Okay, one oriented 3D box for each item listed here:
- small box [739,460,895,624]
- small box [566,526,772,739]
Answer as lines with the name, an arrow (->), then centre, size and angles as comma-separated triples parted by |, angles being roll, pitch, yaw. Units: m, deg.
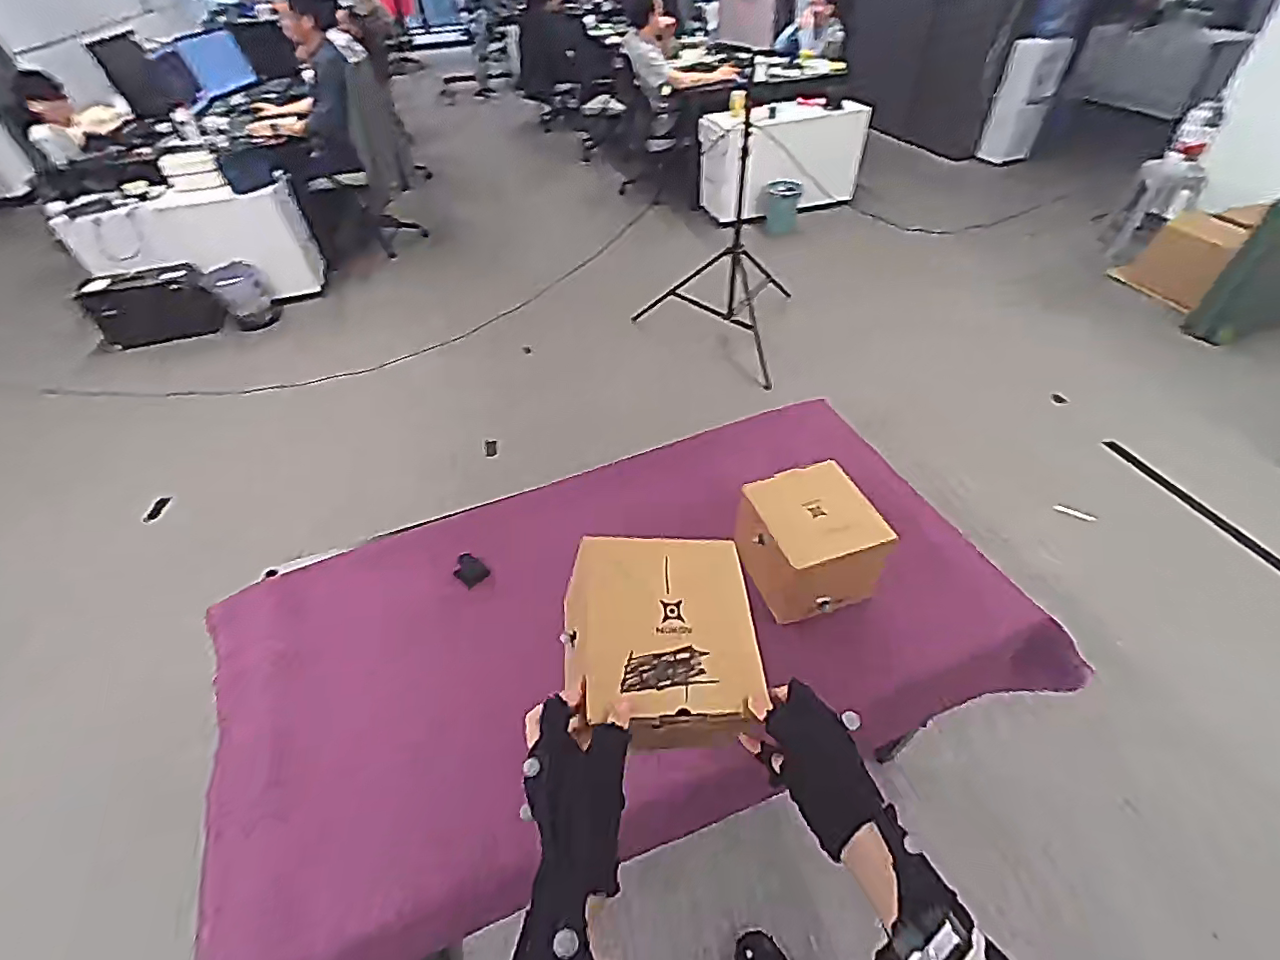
small box -> 0.269, 0.100, 0.875 | 0.168, 0.176, 0.179 | -16, 48, -10
small box -> 0.015, 0.167, 0.565 | 0.168, 0.176, 0.179 | 4, 55, -13
